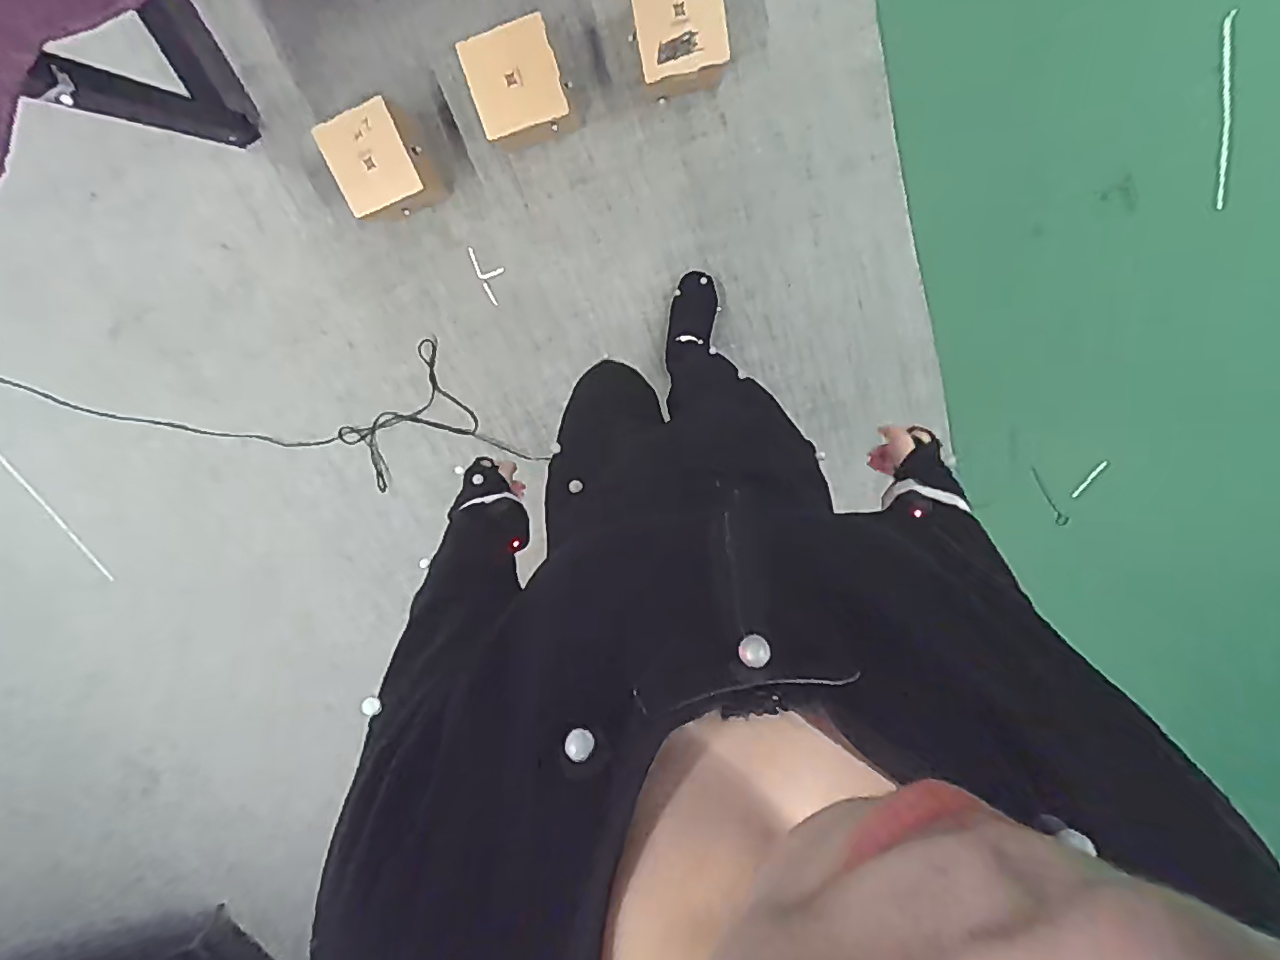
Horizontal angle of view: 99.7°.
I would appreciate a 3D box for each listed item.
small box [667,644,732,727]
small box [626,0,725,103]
[{"bbox_3d":[0.185,0.641,1.699,0.179,0.176,0.168,-12,113,7],"label":"small box"},{"bbox_3d":[0.069,-0.873,1.068,0.168,0.176,0.179,-10,111,6],"label":"small box"}]
